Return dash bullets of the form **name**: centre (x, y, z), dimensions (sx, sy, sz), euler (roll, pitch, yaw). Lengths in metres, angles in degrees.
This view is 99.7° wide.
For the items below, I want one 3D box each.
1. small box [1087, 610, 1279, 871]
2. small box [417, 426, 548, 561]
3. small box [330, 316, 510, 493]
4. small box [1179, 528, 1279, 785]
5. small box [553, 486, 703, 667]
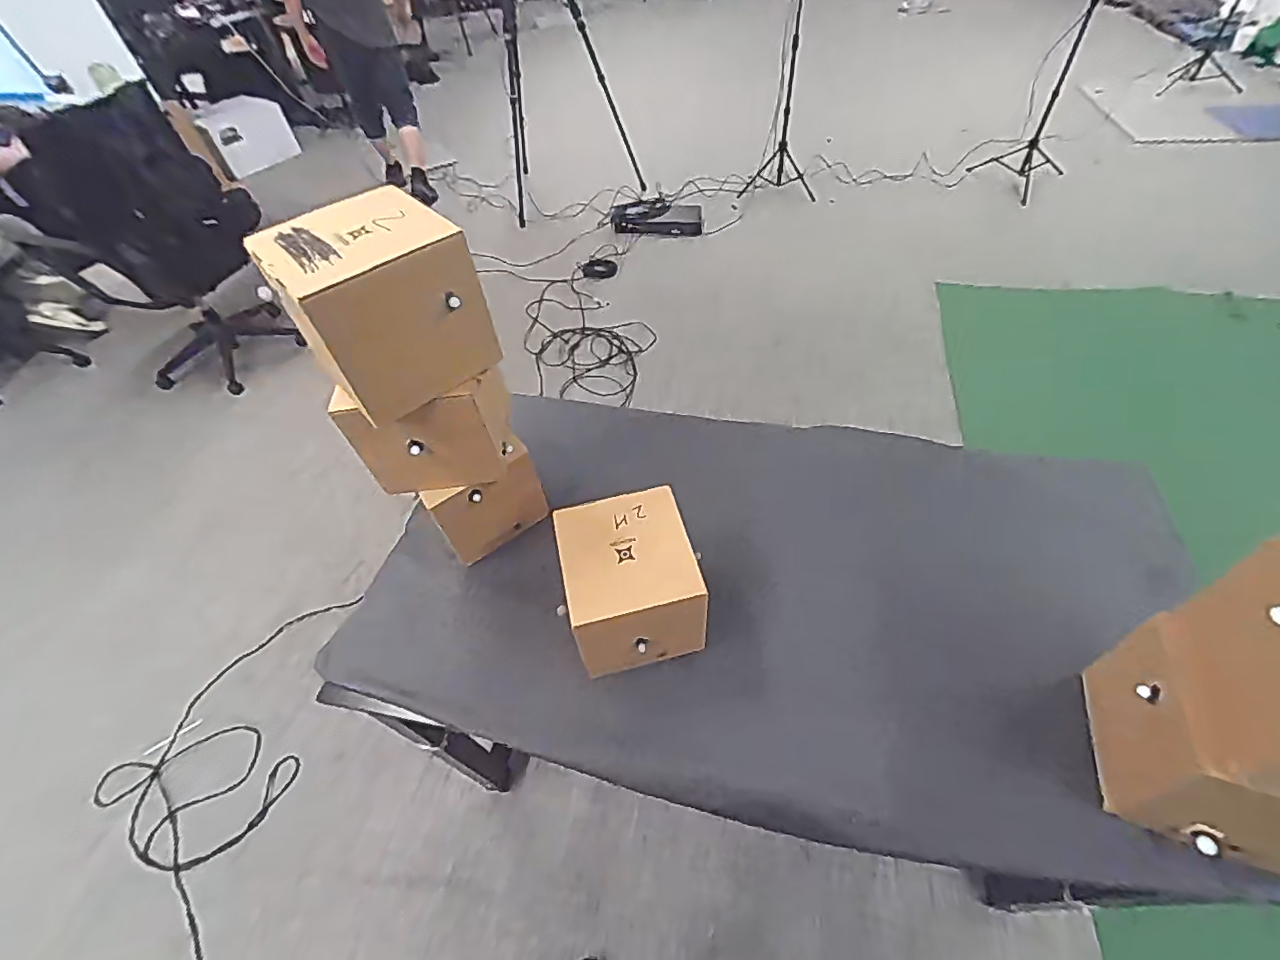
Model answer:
- **small box**: centre (0.612, 0.271, 0.568), dimensions (0.168, 0.176, 0.179), euler (12, 50, 18)
- **small box**: centre (-0.275, -0.001, 0.887), dimensions (0.168, 0.176, 0.179), euler (-33, 56, -20)
- **small box**: centre (-0.288, -0.101, 0.756), dimensions (0.179, 0.176, 0.168), euler (-8, 51, 0)
- **small box**: centre (0.614, 0.163, 0.446), dimensions (0.168, 0.176, 0.179), euler (11, 48, 16)
- **small box**: centre (-0.014, 0.140, 0.744), dimensions (0.168, 0.176, 0.179), euler (-13, 50, -6)
